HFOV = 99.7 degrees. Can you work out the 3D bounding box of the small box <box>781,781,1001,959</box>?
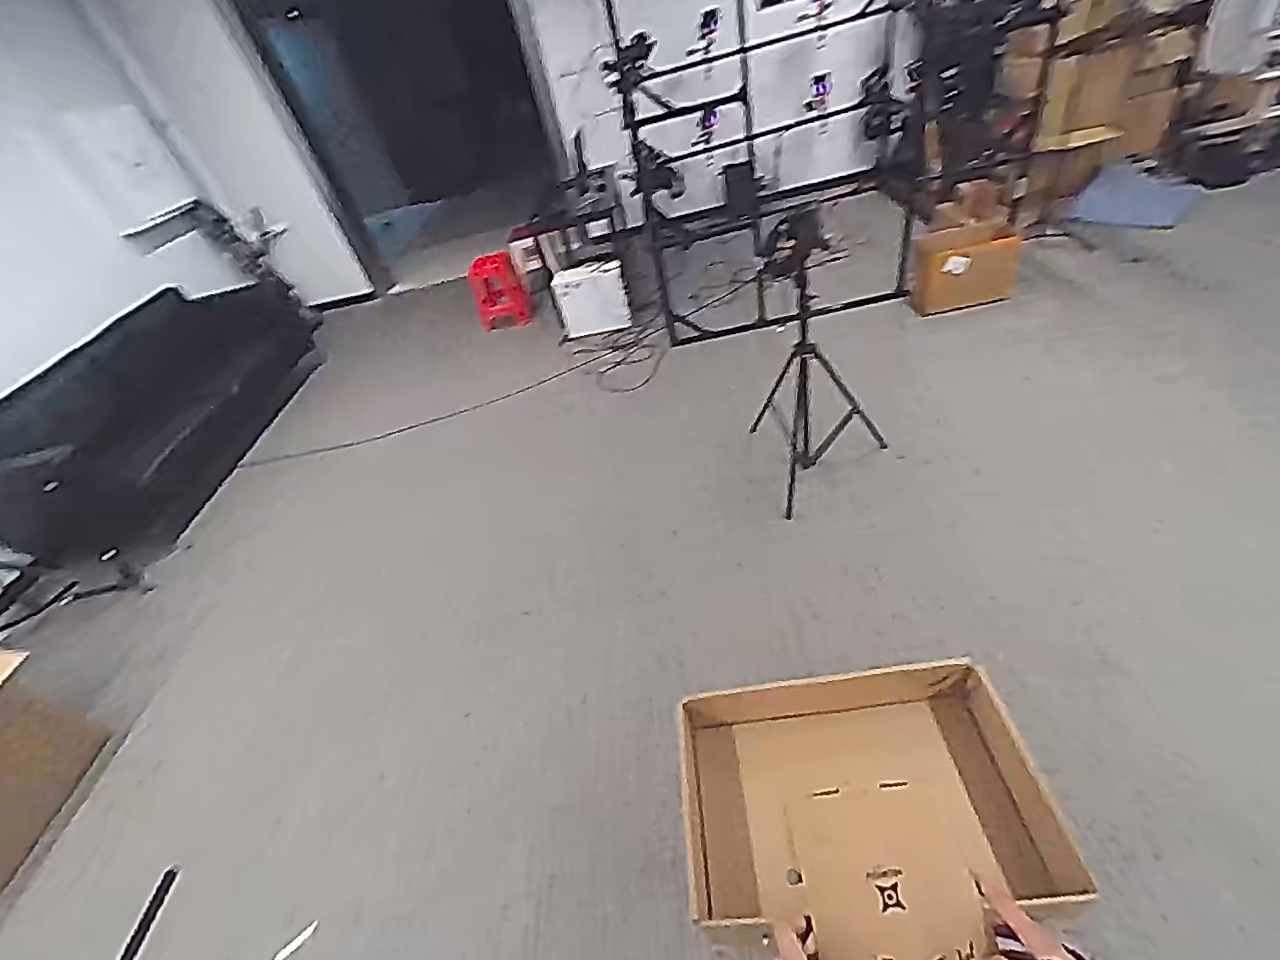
[{"bbox_3d":[0.258,0.454,0.599,0.168,0.176,0.179,-10,51,5],"label":"small box"}]
